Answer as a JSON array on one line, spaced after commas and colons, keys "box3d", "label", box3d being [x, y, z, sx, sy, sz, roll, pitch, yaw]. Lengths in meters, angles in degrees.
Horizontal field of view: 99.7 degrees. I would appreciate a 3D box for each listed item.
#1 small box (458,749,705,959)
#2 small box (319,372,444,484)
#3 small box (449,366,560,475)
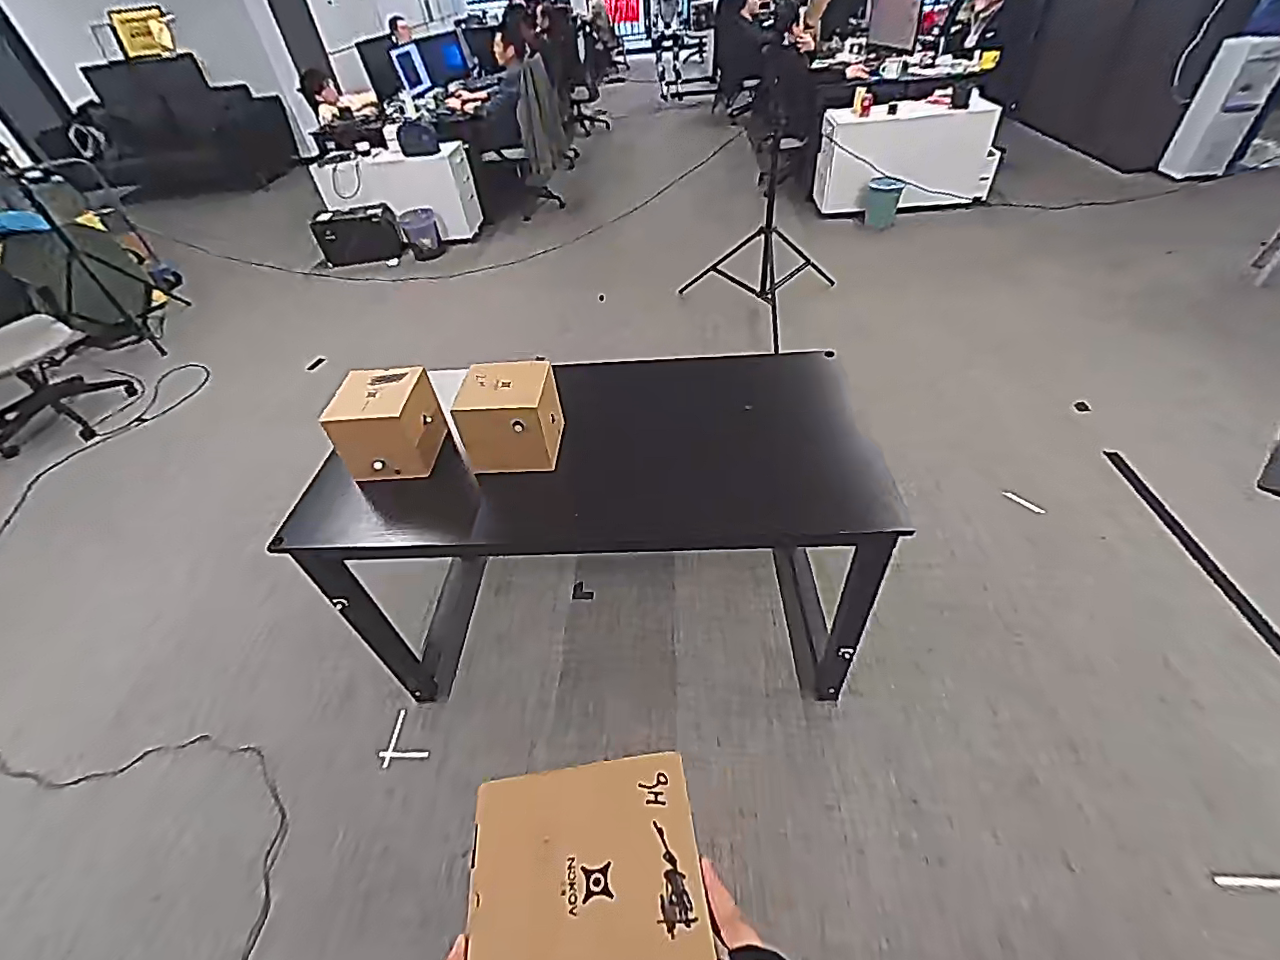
[{"box3d": [-0.042, 0.361, 0.466, 0.179, 0.176, 0.168, -8, 43, -2], "label": "small box"}, {"box3d": [-0.540, -0.112, 1.163, 0.168, 0.176, 0.179, -4, 45, 3], "label": "small box"}, {"box3d": [-0.274, -0.123, 1.143, 0.179, 0.176, 0.168, -2, 43, 4], "label": "small box"}]
